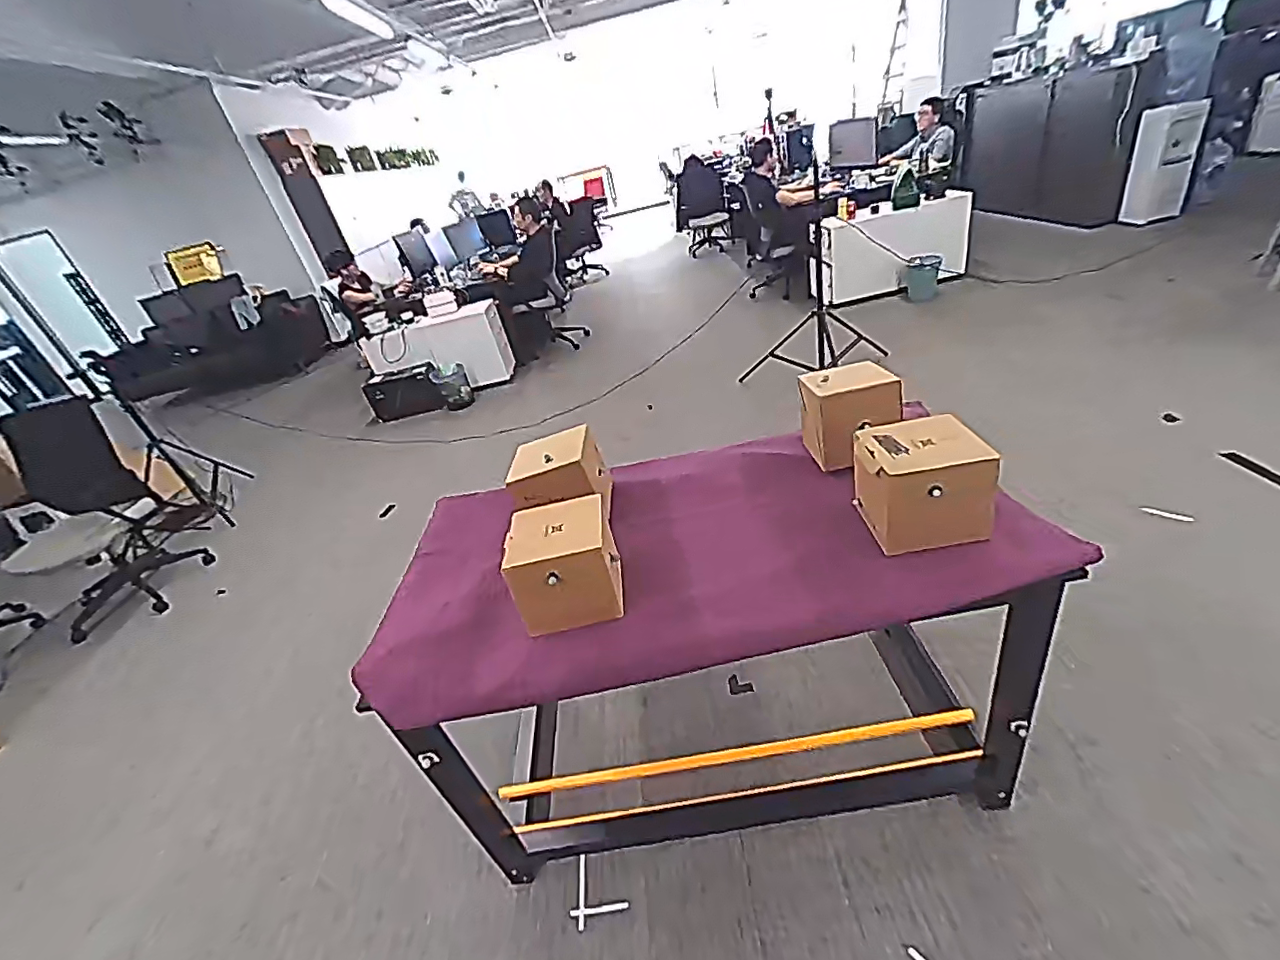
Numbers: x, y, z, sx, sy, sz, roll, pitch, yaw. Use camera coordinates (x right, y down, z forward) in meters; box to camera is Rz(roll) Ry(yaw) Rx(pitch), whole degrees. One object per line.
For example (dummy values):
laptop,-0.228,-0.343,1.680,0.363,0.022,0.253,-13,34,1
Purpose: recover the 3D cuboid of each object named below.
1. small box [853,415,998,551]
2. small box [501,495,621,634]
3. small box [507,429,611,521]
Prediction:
small box,0.495,0.007,0.959,0.179,0.176,0.168,-11,30,6
small box,-0.133,0.156,0.993,0.179,0.176,0.168,-13,31,3
small box,-0.173,0.006,1.221,0.179,0.168,0.176,-17,30,11
